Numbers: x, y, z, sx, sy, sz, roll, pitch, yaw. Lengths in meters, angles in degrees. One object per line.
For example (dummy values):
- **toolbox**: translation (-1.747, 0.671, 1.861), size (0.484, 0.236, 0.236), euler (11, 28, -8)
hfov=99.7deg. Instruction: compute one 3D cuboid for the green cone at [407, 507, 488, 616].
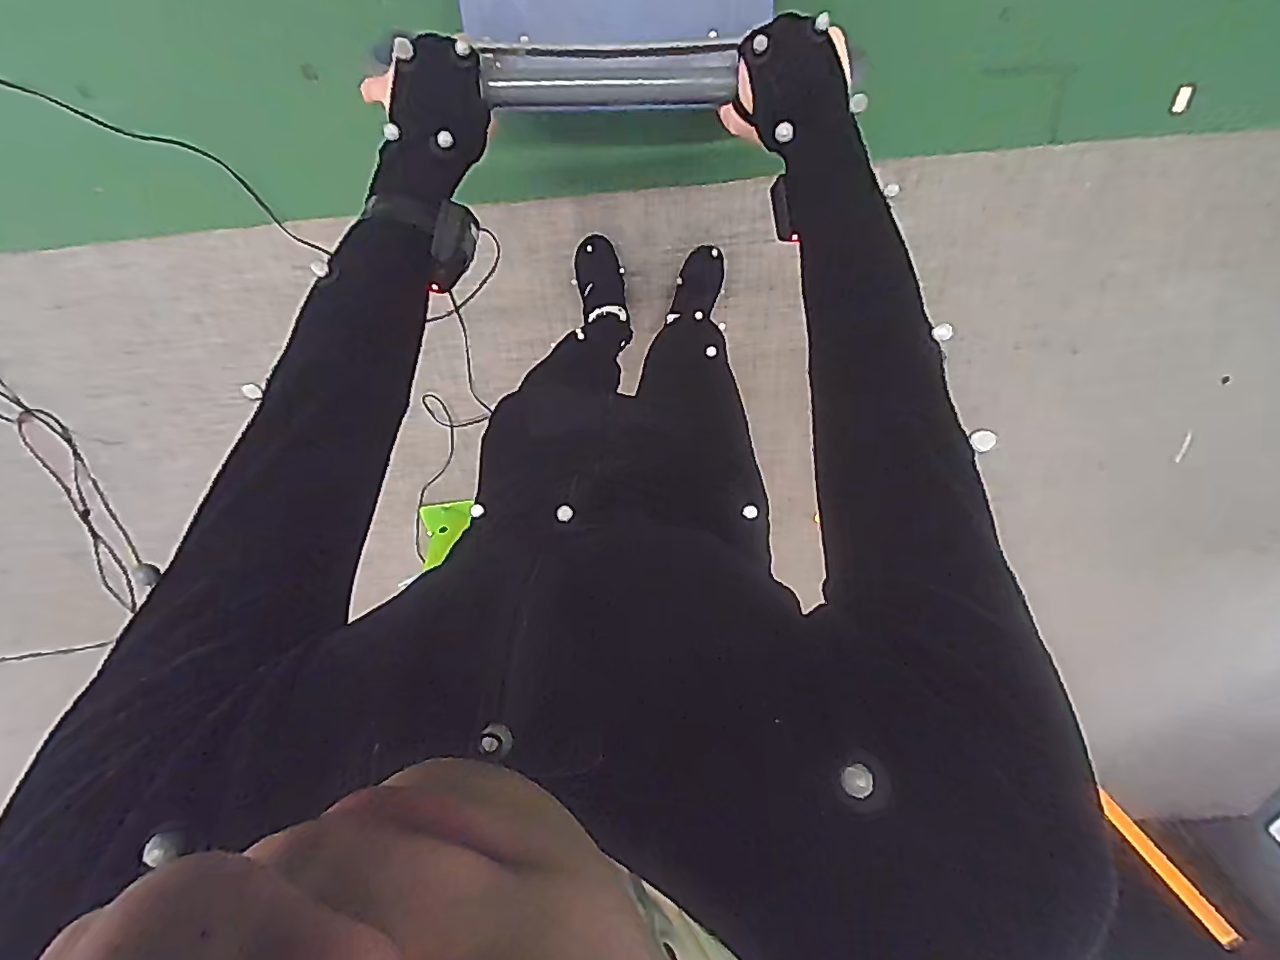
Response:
- **green cone**: translation (-0.626, 0.268, 1.659), size (0.202, 0.368, 0.200), euler (-7, 122, 5)
